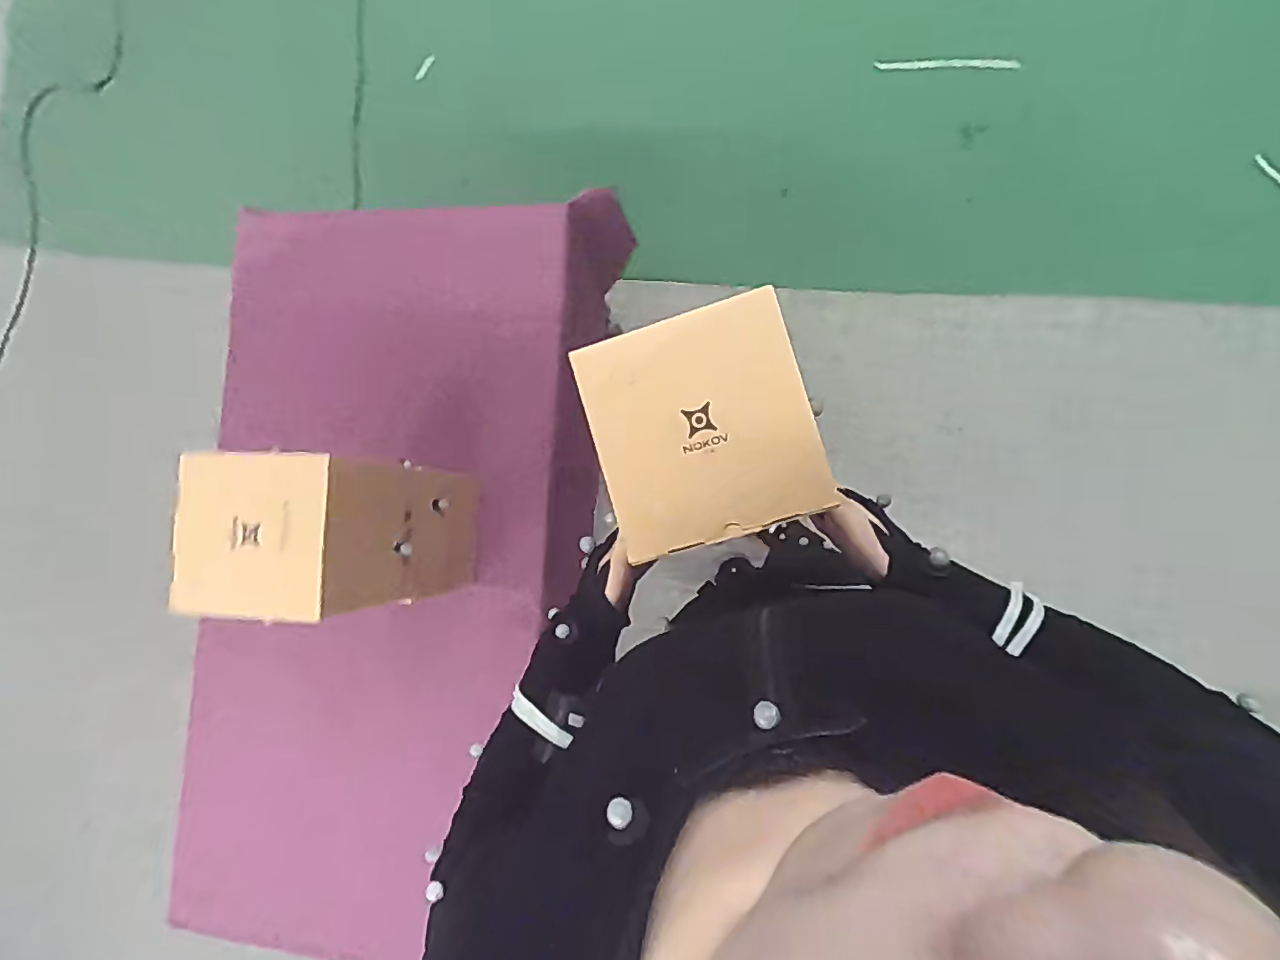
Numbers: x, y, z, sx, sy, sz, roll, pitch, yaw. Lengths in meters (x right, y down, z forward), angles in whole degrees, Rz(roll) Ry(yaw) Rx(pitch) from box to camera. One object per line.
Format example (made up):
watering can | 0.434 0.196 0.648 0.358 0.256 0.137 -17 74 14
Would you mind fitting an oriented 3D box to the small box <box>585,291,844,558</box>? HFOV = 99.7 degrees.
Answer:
small box | 0.062 -0.040 0.493 0.168 0.176 0.179 -16 88 6
